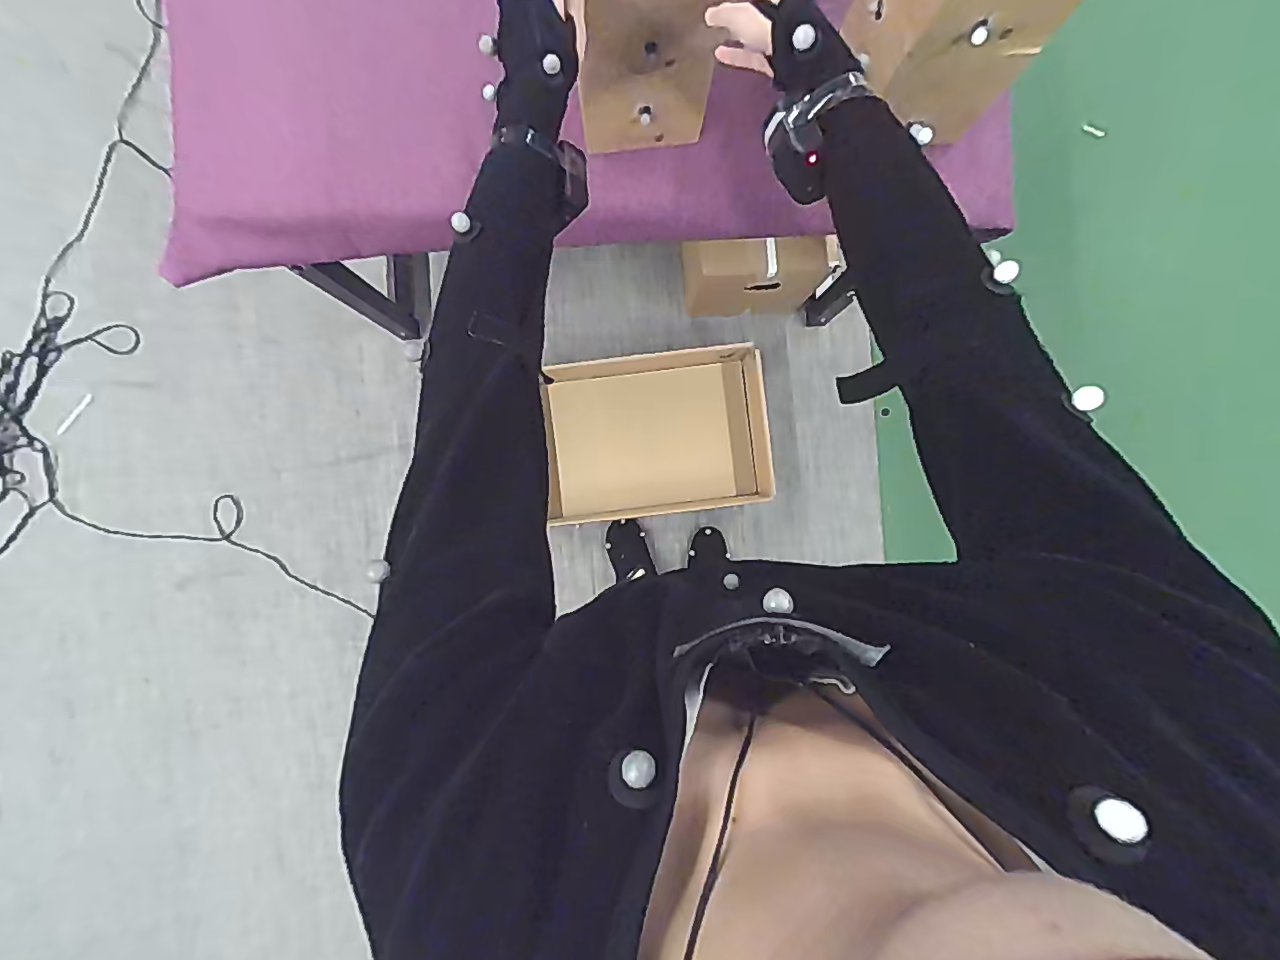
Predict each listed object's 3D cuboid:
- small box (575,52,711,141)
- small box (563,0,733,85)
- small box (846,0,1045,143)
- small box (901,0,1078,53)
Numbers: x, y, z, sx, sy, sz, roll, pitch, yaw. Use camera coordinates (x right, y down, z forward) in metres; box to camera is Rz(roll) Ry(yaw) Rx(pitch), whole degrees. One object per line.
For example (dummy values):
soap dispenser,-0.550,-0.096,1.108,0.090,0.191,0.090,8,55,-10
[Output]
small box,-0.002,-0.572,0.701,0.168,0.176,0.179,-7,89,-1
small box,-0.004,-0.538,0.527,0.168,0.176,0.179,-13,99,2
small box,0.380,-0.579,0.704,0.168,0.176,0.179,-3,89,0
small box,0.376,-0.583,0.541,0.168,0.176,0.179,-6,89,0
